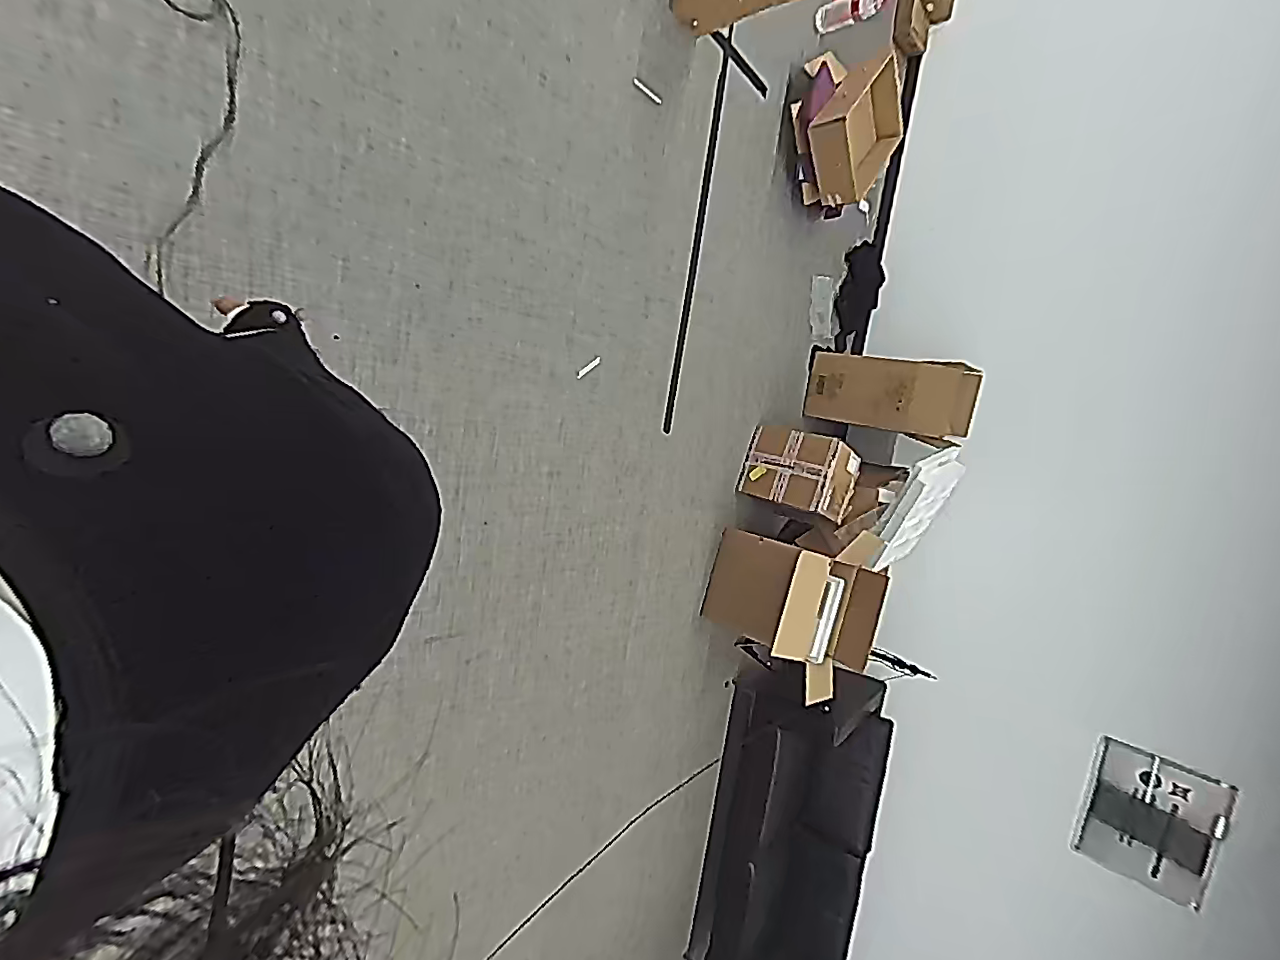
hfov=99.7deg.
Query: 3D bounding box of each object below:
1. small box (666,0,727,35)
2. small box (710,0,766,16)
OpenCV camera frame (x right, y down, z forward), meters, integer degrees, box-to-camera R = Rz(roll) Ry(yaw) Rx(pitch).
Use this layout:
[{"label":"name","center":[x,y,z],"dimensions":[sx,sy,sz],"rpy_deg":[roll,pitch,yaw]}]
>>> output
[{"label":"small box","center":[0.214,-1.777,1.960],"dimensions":[0.168,0.176,0.179],"rpy_deg":[1,102,-49]},{"label":"small box","center":[0.331,-1.742,1.851],"dimensions":[0.179,0.176,0.168],"rpy_deg":[1,101,-48]}]
